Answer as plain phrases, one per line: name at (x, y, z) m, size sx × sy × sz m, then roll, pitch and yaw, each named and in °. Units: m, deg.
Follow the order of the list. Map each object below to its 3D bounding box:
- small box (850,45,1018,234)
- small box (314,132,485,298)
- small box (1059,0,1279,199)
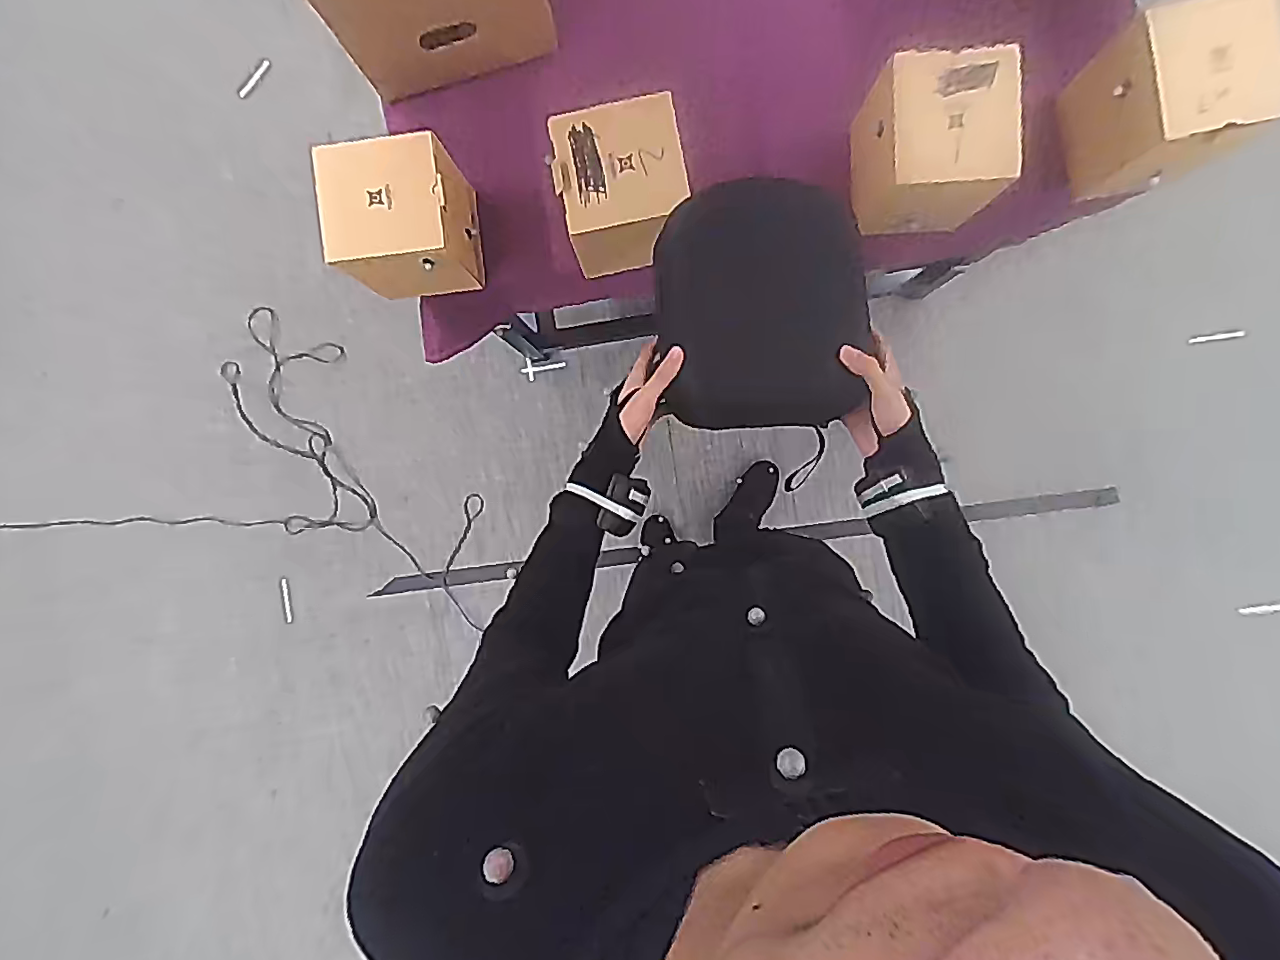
small box at (0.418, -0.486, 0.795) m, size 0.168 × 0.176 × 0.179 m, roll -2°, pitch 93°, yaw 3°
small box at (-0.359, -0.393, 0.832) m, size 0.179 × 0.176 × 0.168 m, roll -7°, pitch 91°, yaw 2°
small box at (0.746, -0.542, 0.776) m, size 0.168 × 0.176 × 0.179 m, roll -9°, pitch 91°, yaw 4°
